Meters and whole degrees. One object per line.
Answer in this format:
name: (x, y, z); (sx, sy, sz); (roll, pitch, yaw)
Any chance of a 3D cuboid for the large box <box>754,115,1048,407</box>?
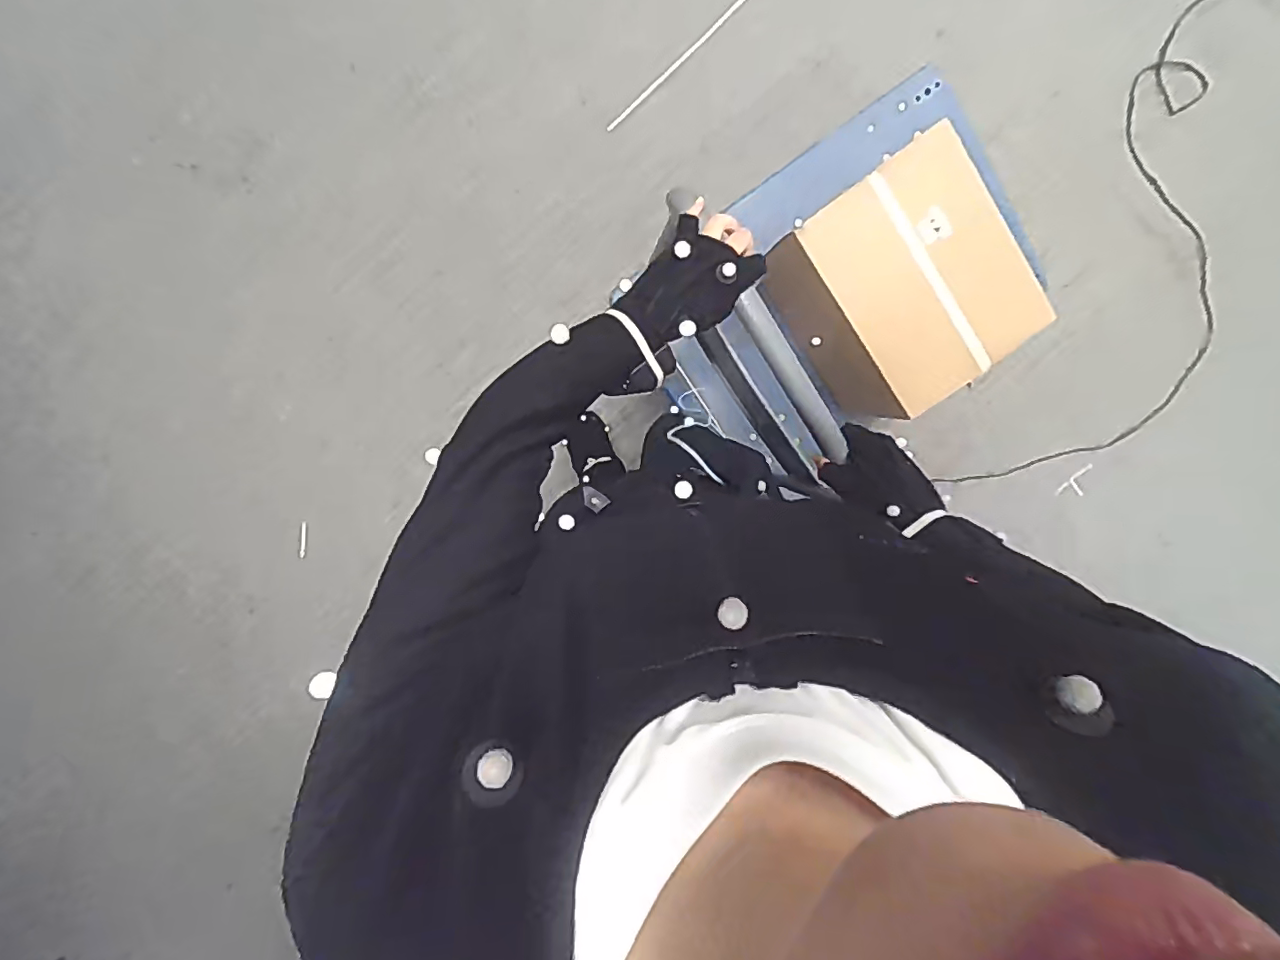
large box: (0.492, -0.399, 1.097); (0.320, 0.320, 0.408); (-35, 98, 4)
